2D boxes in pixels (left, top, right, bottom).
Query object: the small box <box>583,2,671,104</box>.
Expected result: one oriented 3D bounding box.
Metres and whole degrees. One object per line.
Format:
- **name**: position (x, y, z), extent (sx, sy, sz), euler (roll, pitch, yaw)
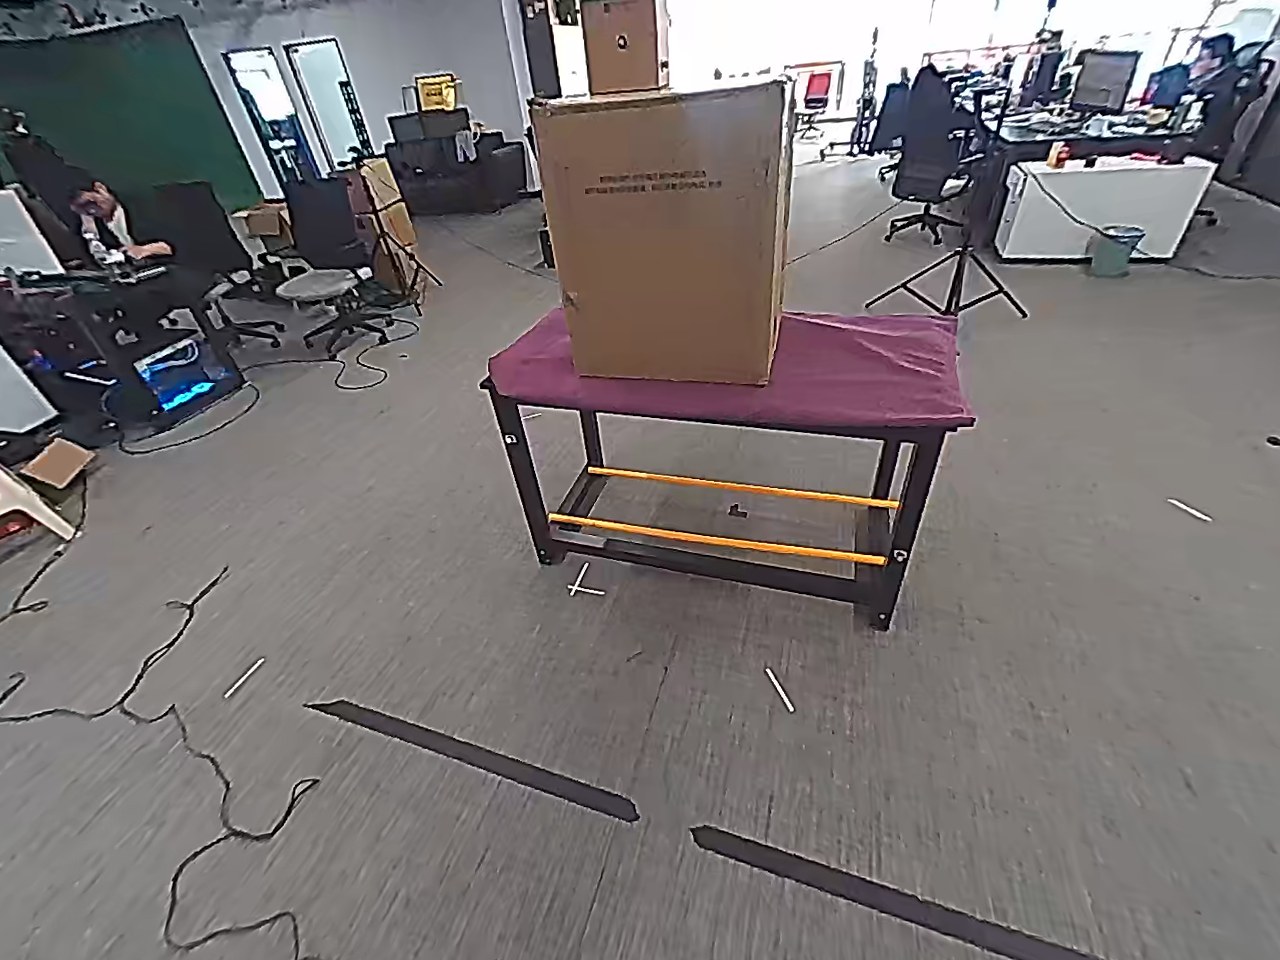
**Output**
- **small box**: position (-0.025, -0.981, 1.243), extent (0.168, 0.176, 0.179), euler (4, 39, 11)
